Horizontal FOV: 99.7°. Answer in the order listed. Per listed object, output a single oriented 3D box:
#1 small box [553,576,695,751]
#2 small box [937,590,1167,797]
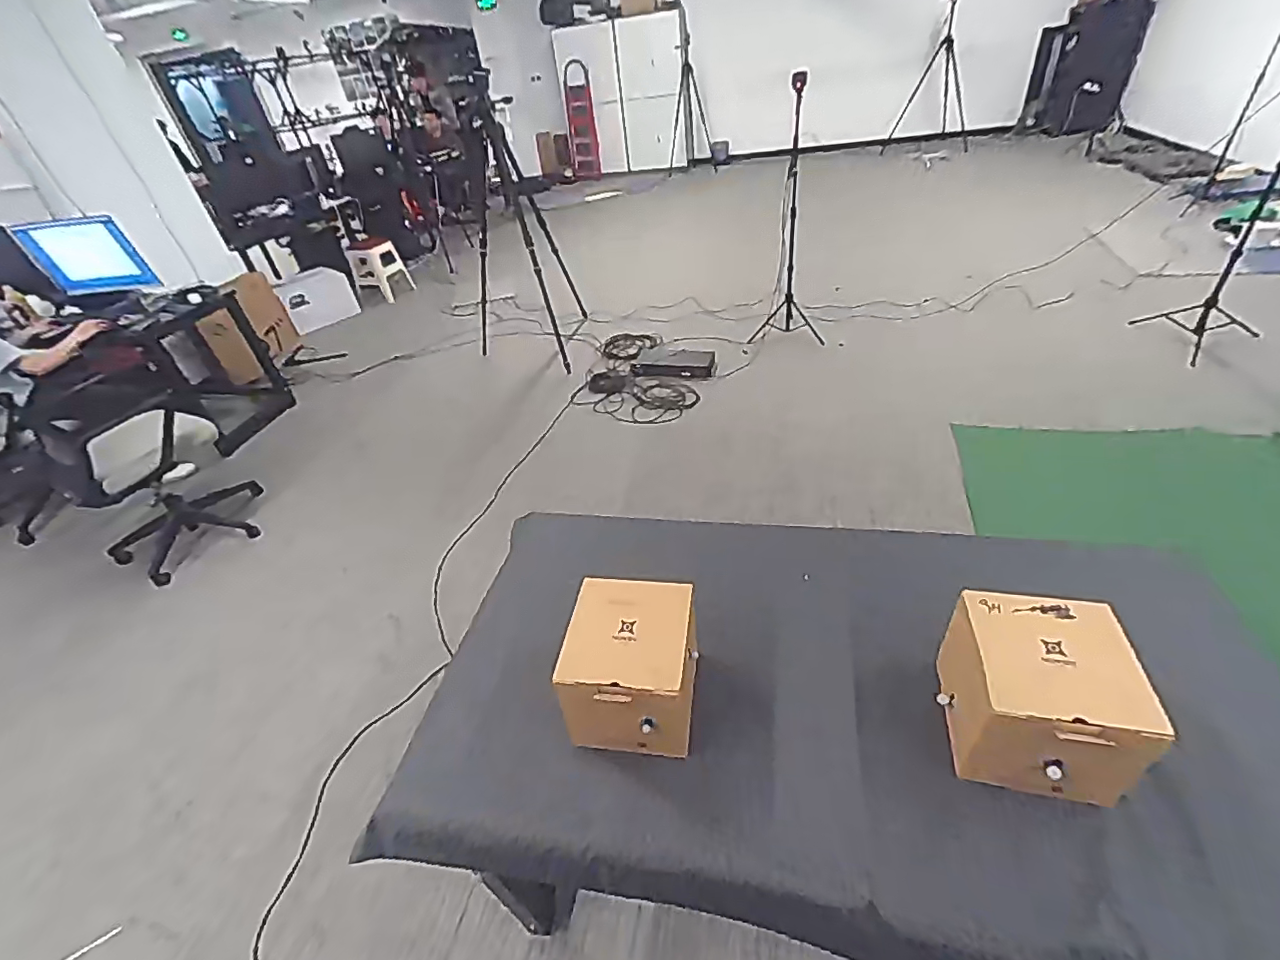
[{"bbox_3d":[-0.010,0.263,0.780,0.168,0.176,0.179,2,38,10],"label":"small box"},{"bbox_3d":[0.492,0.267,0.682,0.168,0.176,0.179,4,40,15],"label":"small box"}]
